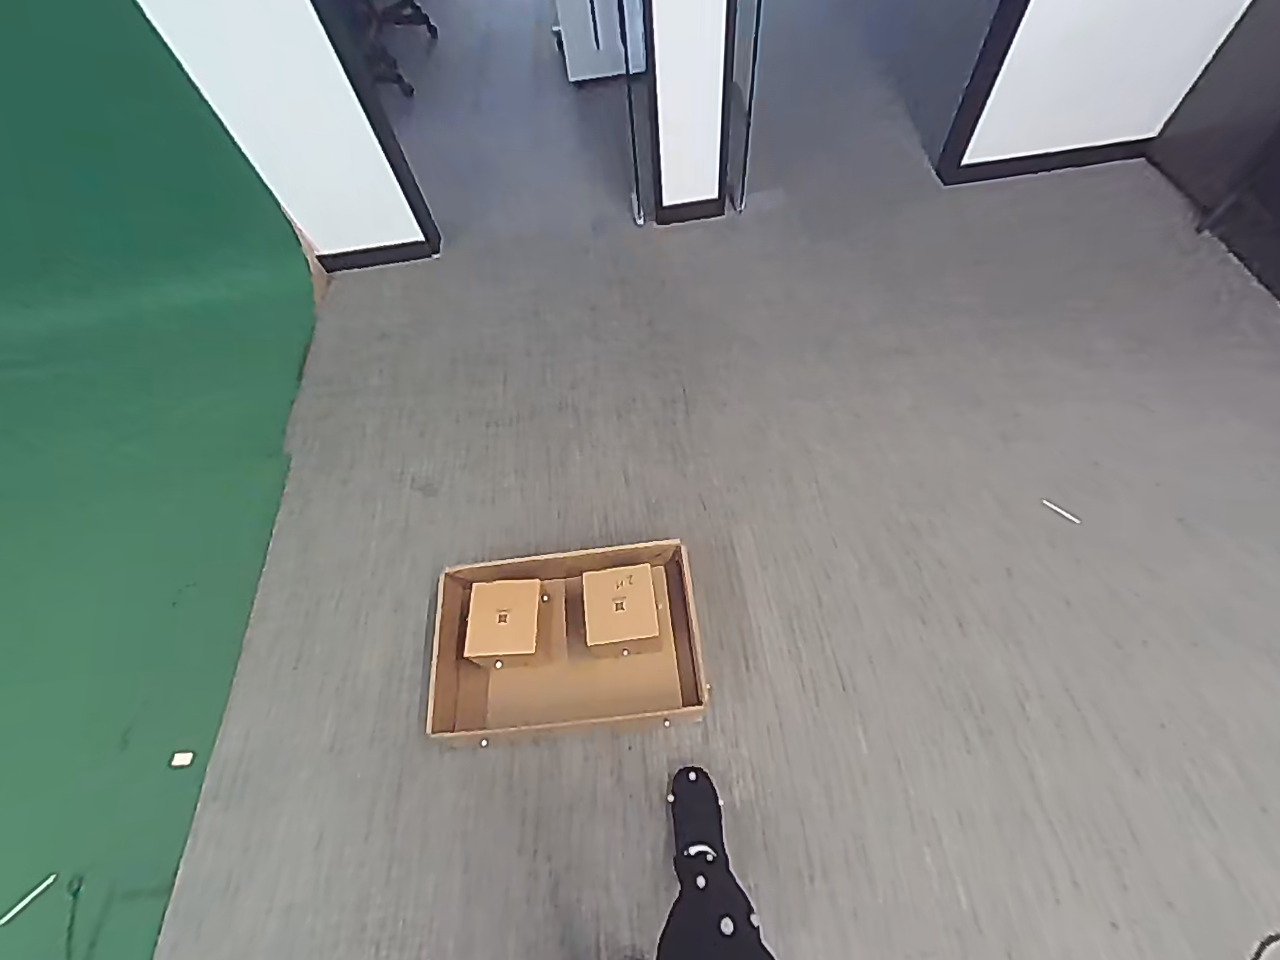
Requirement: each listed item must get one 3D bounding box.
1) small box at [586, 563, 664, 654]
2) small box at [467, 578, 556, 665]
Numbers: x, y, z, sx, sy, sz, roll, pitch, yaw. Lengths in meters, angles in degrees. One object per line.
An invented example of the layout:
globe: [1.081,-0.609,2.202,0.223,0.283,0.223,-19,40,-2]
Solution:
small box: [-0.035,0.320,1.317,0.168,0.176,0.179,-7,61,1]
small box: [-0.307,0.353,1.327,0.168,0.176,0.179,-3,60,3]
